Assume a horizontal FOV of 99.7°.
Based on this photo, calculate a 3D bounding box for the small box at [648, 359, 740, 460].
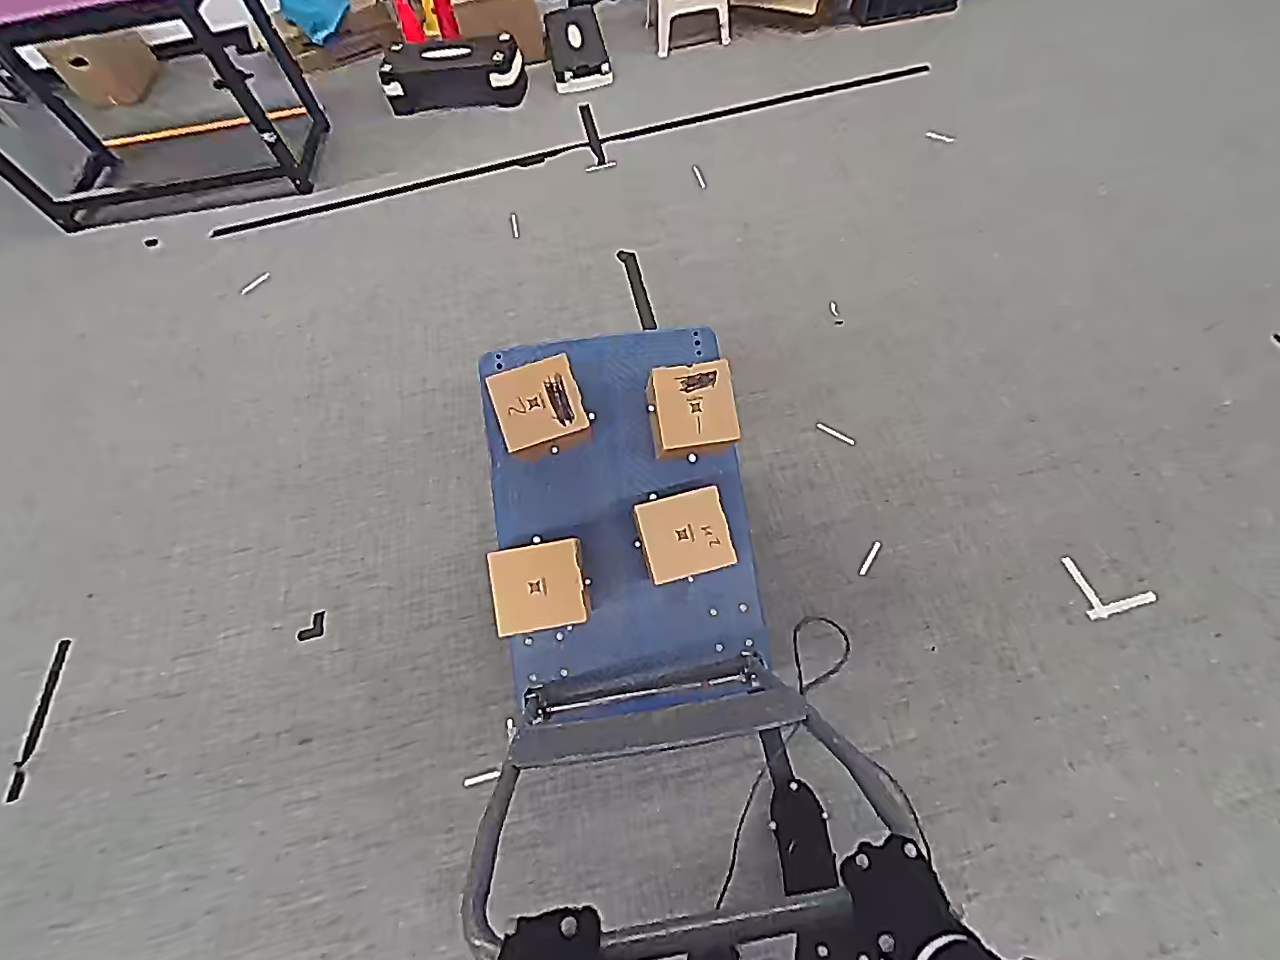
[{"bbox_3d":[0.113,-0.150,1.201,0.168,0.176,0.179,-8,84,-3],"label":"small box"}]

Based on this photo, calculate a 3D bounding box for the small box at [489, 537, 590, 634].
[{"bbox_3d":[-0.205,0.219,1.141,0.179,0.176,0.168,-10,83,-5],"label":"small box"}]

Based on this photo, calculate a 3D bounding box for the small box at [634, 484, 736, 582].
[{"bbox_3d":[0.089,0.117,1.166,0.179,0.176,0.168,-14,84,-4],"label":"small box"}]
